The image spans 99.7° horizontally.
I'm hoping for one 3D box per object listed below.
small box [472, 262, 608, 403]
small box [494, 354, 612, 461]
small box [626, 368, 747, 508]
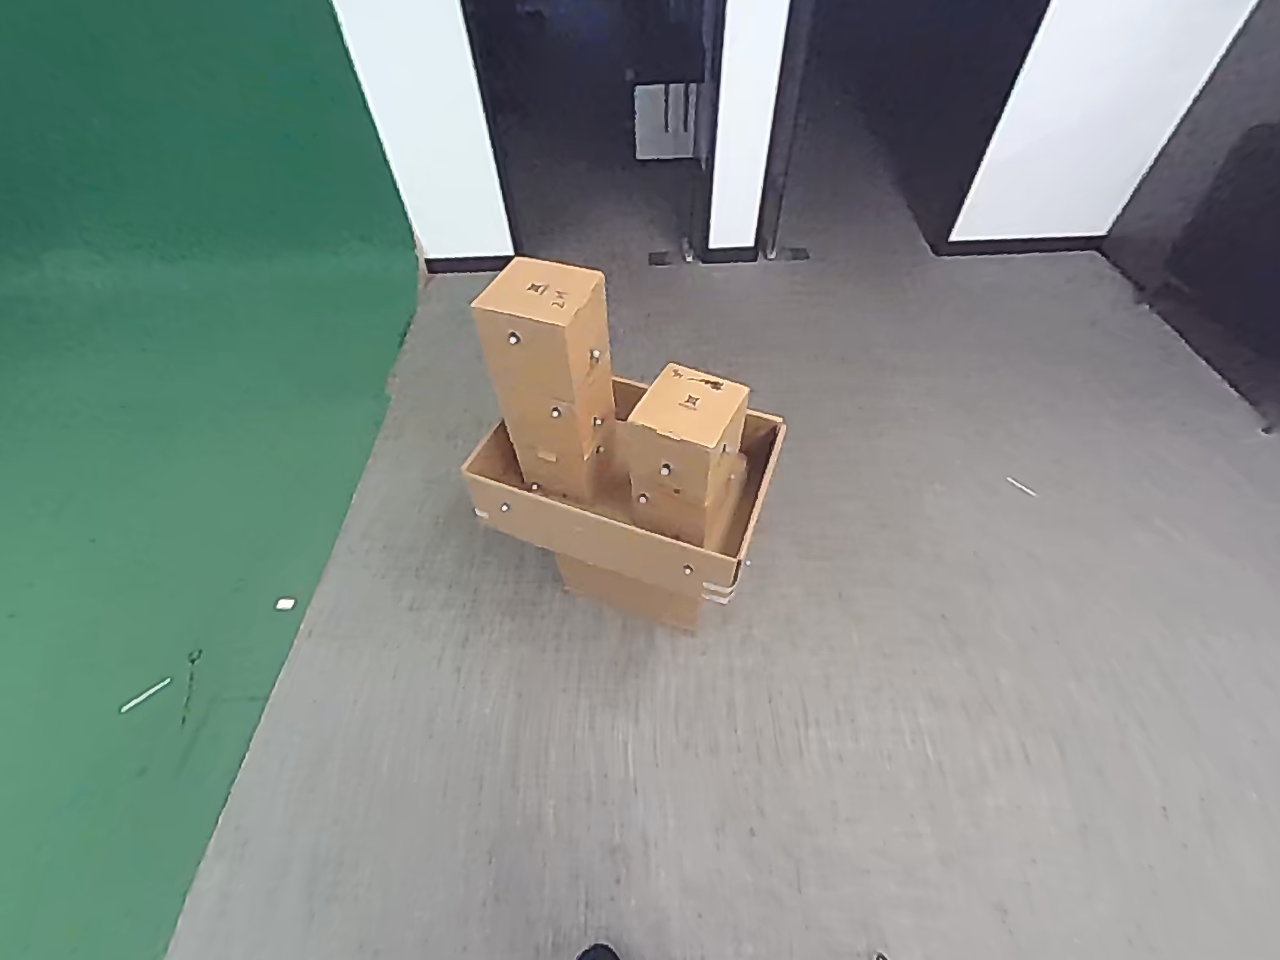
[{"bbox_3d":[-0.169,-0.263,0.977,0.179,0.176,0.168,16,54,12],"label":"small box"},{"bbox_3d":[-0.169,-0.162,1.108,0.179,0.176,0.168,17,54,12],"label":"small box"},{"bbox_3d":[0.089,-0.076,1.031,0.168,0.176,0.179,23,56,18],"label":"small box"}]
